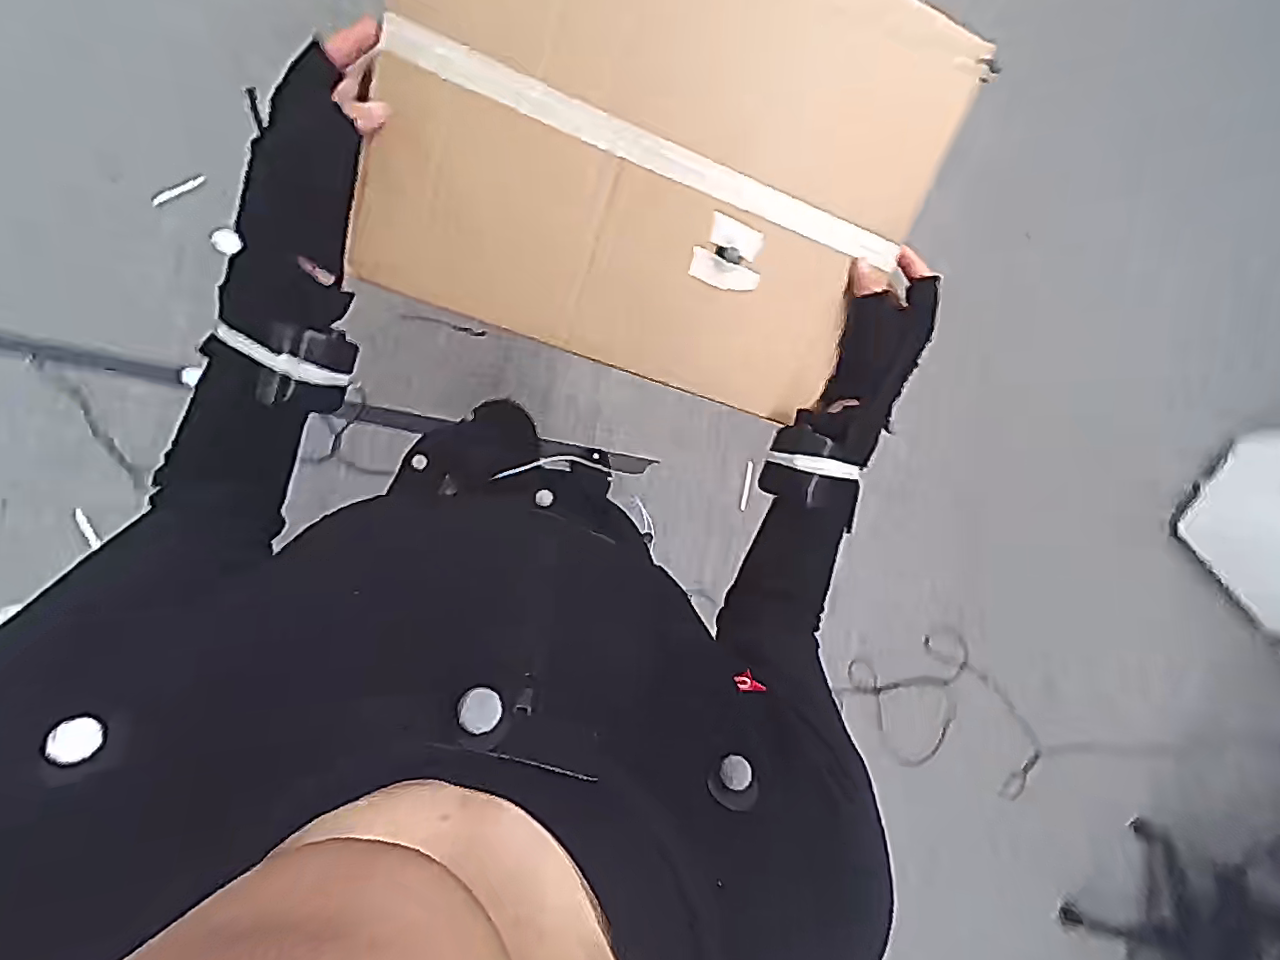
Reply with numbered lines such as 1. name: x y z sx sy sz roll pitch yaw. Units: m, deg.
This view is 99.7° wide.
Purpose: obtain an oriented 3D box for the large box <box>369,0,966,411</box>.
1. large box: -0.001 -0.304 0.552 0.408 0.320 0.320 16 110 -16
